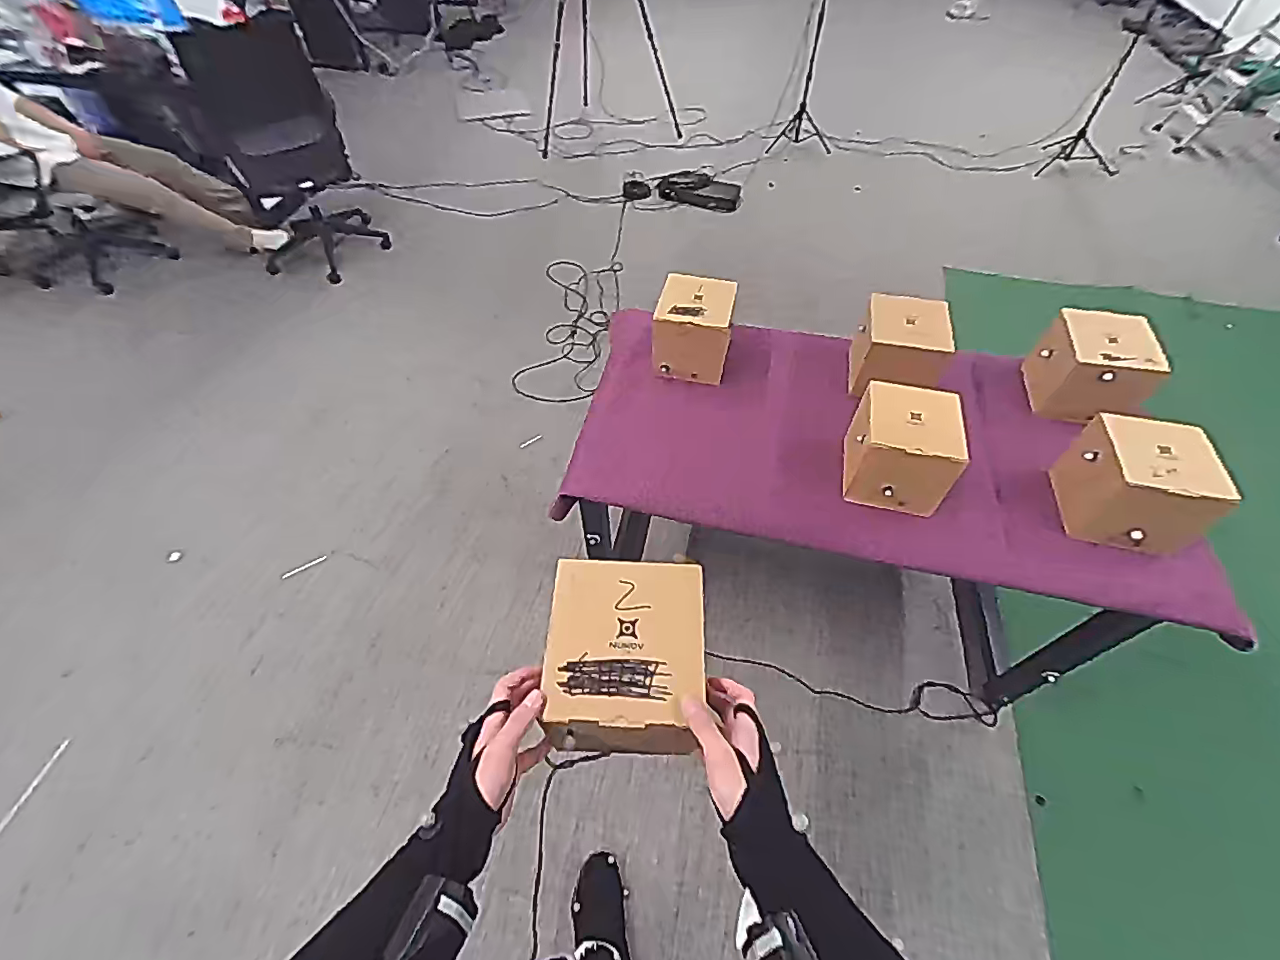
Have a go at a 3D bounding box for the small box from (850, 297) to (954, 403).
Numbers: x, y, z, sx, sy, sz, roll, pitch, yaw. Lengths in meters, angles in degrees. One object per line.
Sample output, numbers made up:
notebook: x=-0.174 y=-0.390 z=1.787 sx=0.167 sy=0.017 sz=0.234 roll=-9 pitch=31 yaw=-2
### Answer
small box: x=0.583 y=-0.282 z=1.223 sx=0.168 sy=0.176 sz=0.179 roll=11 pitch=55 yaw=9

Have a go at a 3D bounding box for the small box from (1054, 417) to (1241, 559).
small box: x=0.898 y=0.016 z=0.984 sx=0.168 sy=0.176 sz=0.179 roll=11 pitch=52 yaw=11

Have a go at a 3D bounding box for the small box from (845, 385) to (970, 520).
small box: x=0.505 y=-0.052 z=1.046 sx=0.168 sy=0.176 sz=0.179 roll=12 pitch=53 yaw=9

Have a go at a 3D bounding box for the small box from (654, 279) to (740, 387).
small box: x=0.132 y=-0.342 z=1.270 sx=0.168 sy=0.176 sz=0.179 roll=11 pitch=54 yaw=8

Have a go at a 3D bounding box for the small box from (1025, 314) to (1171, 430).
small box: x=0.975 y=-0.231 z=1.175 sx=0.168 sy=0.176 sz=0.179 roll=9 pitch=54 yaw=10
